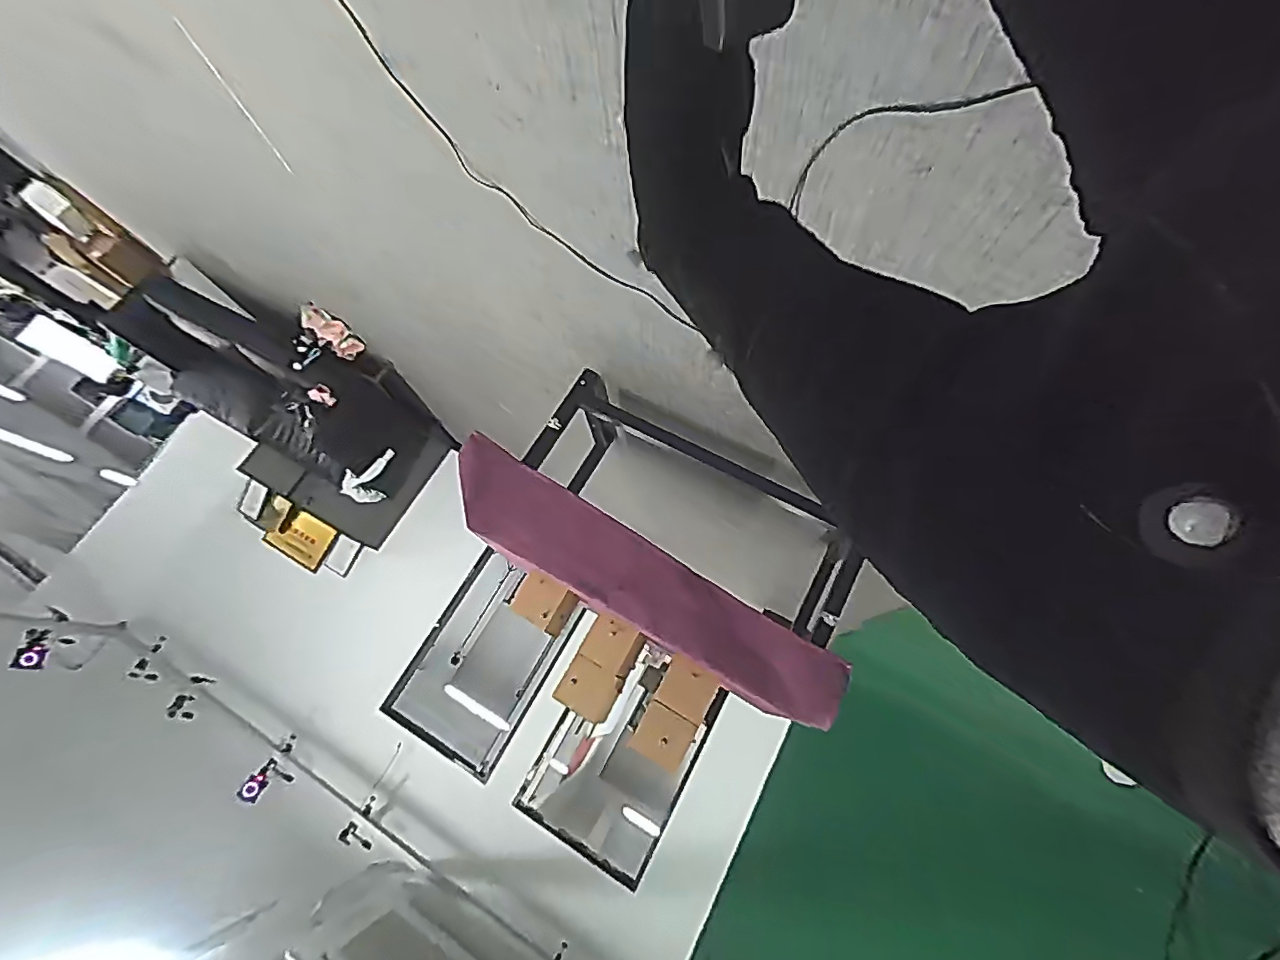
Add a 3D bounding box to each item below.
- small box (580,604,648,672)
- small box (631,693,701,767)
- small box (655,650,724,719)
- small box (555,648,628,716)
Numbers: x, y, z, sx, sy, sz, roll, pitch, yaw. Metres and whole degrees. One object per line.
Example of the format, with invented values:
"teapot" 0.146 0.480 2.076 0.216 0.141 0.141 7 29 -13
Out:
"small box" -0.086 0.571 1.950 0.168 0.176 0.179 24 162 20
"small box" 0.090 0.836 1.826 0.179 0.176 0.168 26 163 15
"small box" 0.172 0.700 1.871 0.179 0.176 0.168 27 164 15
"small box" -0.165 0.706 1.901 0.179 0.176 0.168 25 164 19
